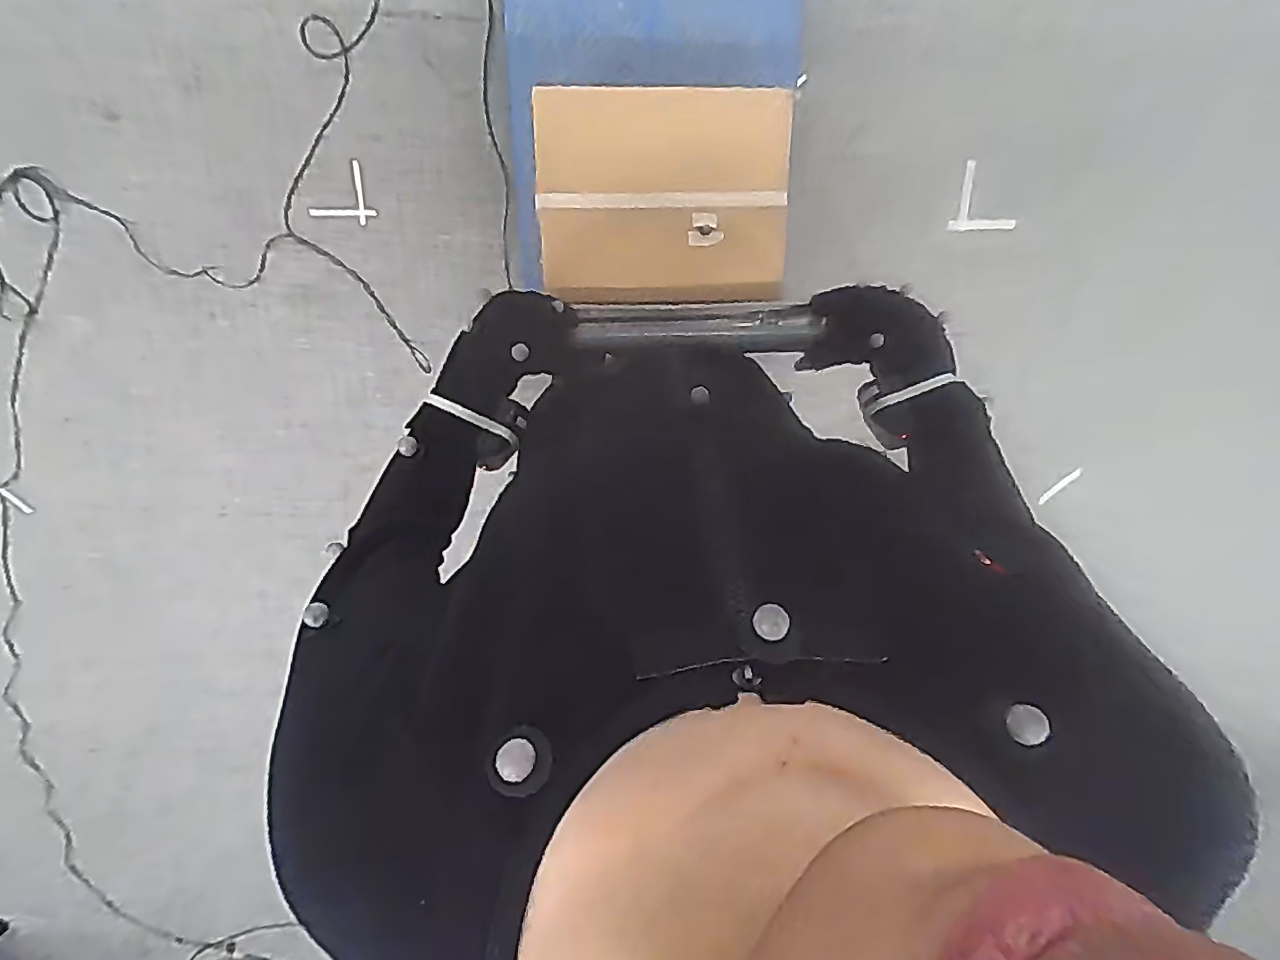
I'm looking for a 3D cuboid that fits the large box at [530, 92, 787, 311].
[{"bbox_3d":[0.024,-0.487,1.012,0.408,0.320,0.320,-2,108,-3],"label":"large box"}]
